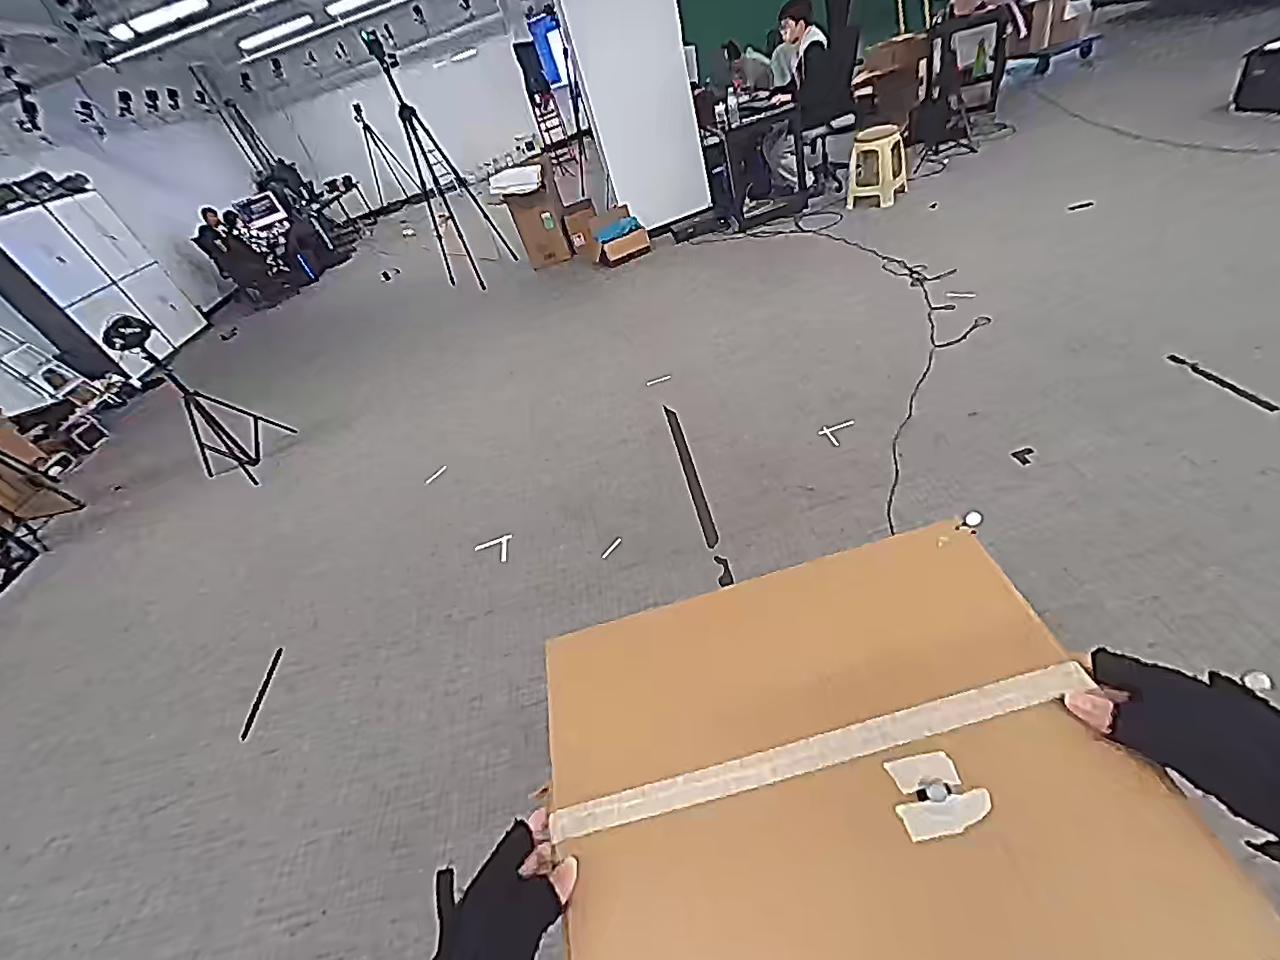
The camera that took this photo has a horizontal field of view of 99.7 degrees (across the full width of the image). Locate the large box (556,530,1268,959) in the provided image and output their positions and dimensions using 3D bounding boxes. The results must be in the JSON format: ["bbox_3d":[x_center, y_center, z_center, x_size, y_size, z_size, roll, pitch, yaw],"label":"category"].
[{"bbox_3d":[0.170,0.311,0.515,0.408,0.320,0.320,-18,46,3],"label":"large box"}]
